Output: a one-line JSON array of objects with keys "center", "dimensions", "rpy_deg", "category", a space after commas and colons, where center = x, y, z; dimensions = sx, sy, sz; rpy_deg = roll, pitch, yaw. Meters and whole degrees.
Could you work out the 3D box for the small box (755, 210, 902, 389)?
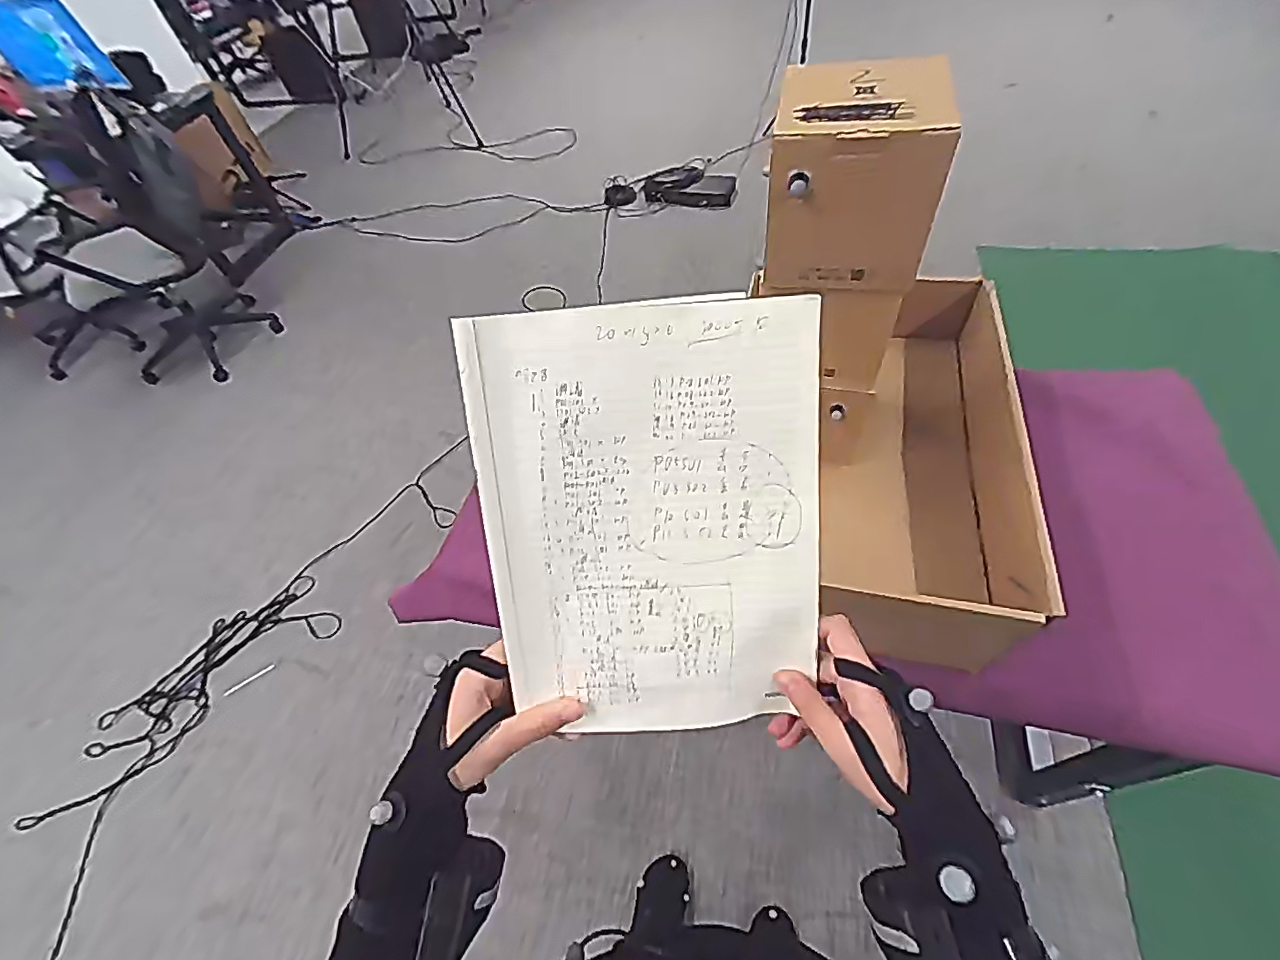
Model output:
[{"center": [0.253, -0.246, 0.746], "dimensions": [0.168, 0.176, 0.179], "rpy_deg": [9, 56, 15], "category": "small box"}]
